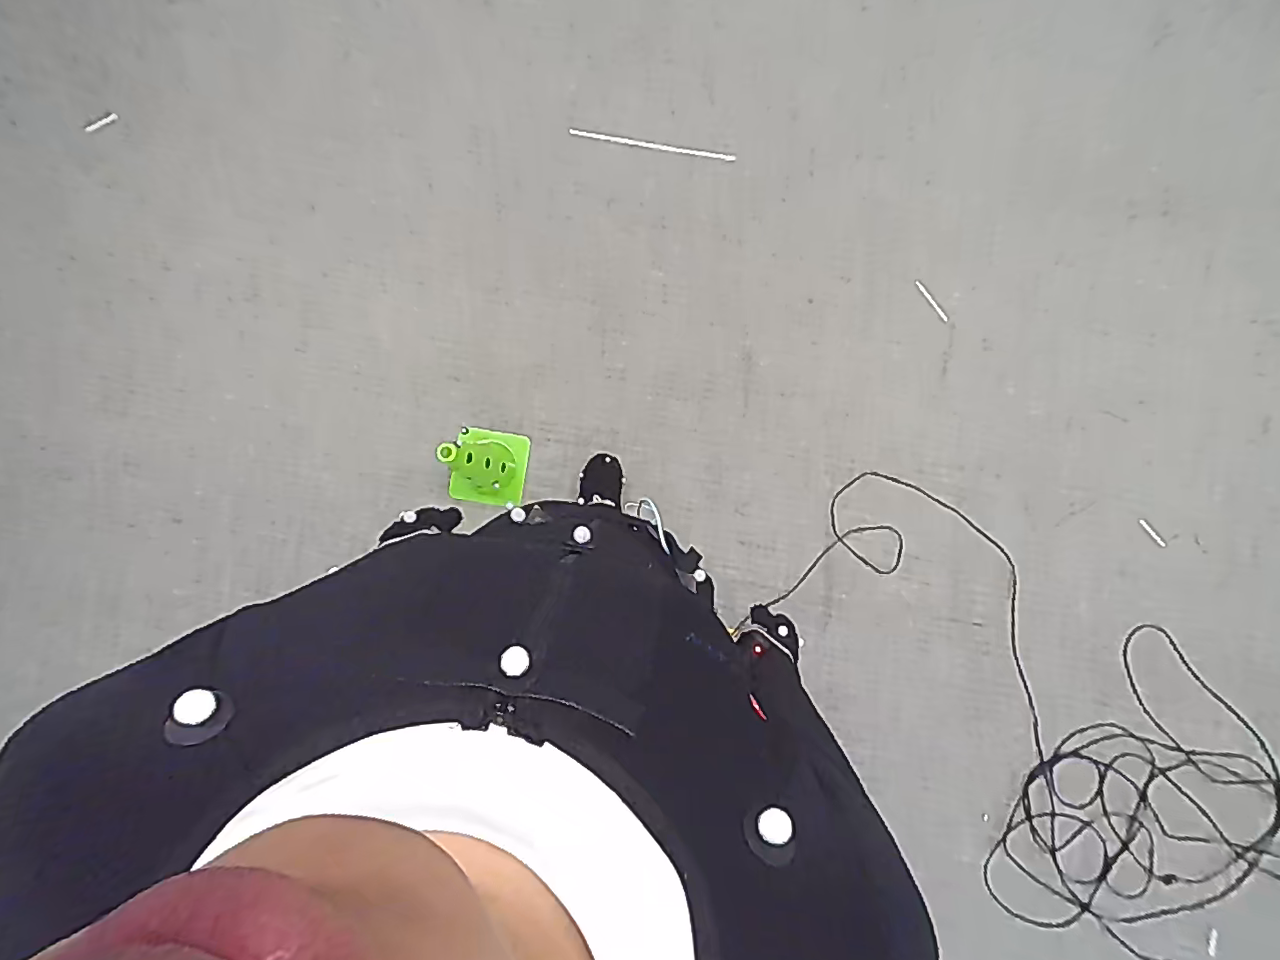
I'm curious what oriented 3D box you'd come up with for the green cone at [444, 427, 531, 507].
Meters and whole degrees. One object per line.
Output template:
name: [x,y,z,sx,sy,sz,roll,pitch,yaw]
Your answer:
green cone: [-0.403,-0.044,1.310,0.202,0.368,0.200,9,87,-1]
